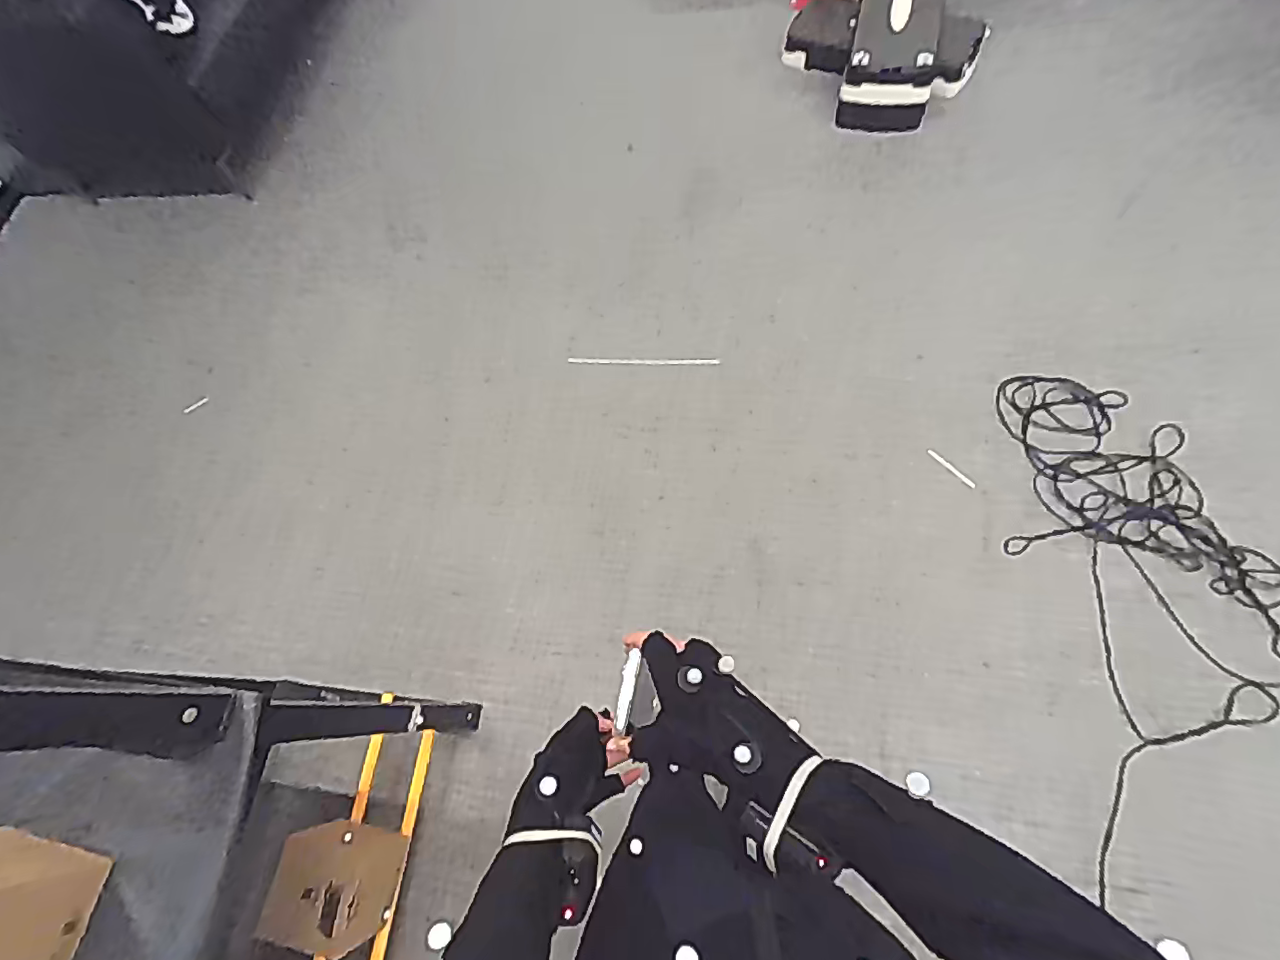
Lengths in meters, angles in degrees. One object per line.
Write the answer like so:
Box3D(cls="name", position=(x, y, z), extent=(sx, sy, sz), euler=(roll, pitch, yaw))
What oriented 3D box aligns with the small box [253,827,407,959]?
Box3D(cls="small box", position=(-0.597, 0.809, 1.069), extent=(0.179, 0.176, 0.168), euler=(6, 68, 11))
